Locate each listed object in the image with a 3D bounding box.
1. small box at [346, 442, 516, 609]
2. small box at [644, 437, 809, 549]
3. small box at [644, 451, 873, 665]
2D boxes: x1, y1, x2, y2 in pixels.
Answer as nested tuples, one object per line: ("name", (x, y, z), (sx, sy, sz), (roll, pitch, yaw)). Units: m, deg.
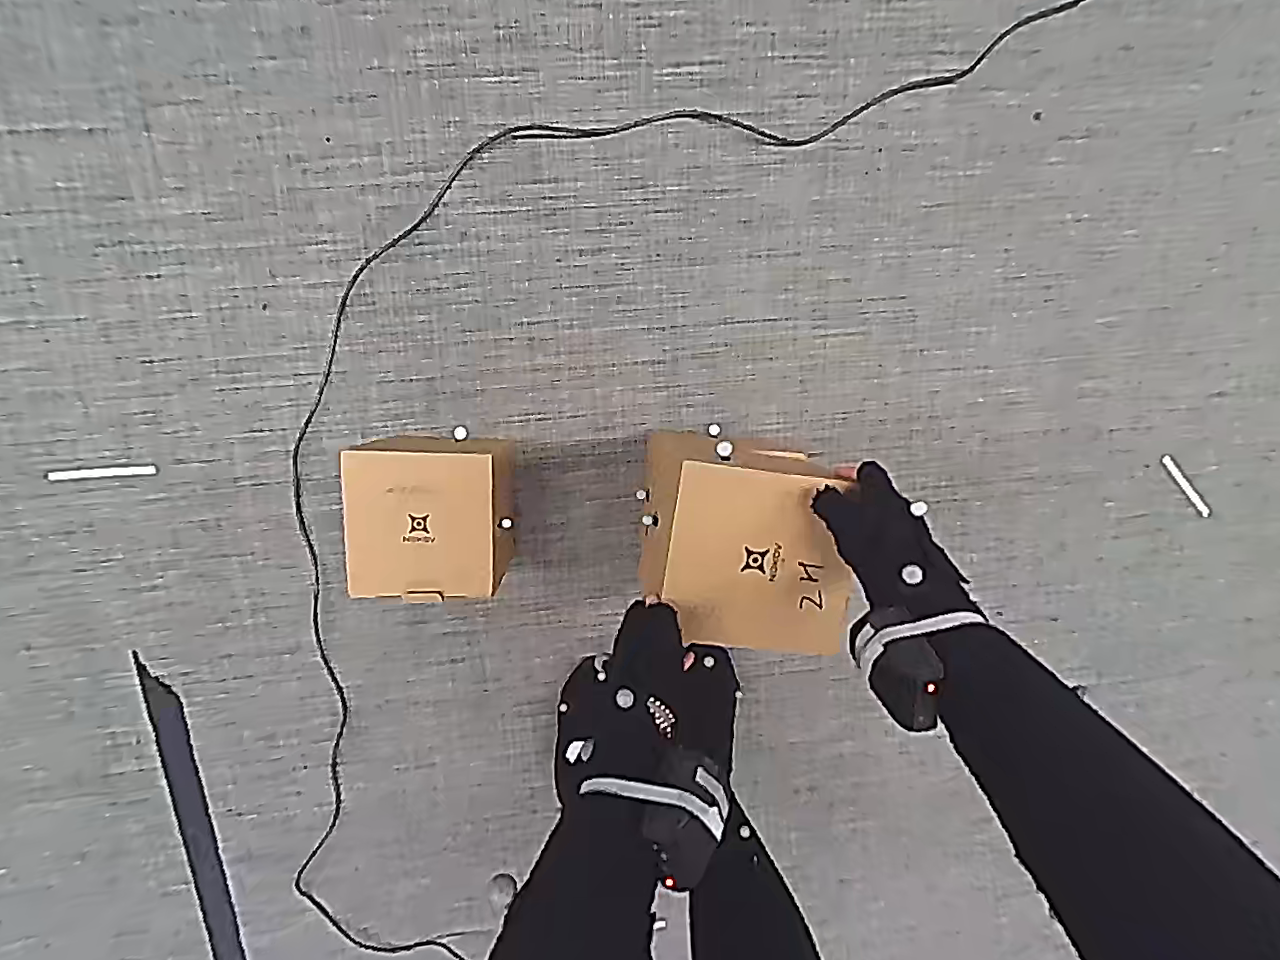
("small box", (-0.253, 0.051, 0.695), (0.168, 0.176, 0.179), (1, 100, -5))
("small box", (0.101, 0.036, 0.720), (0.179, 0.176, 0.168), (4, 100, -5))
("small box", (0.103, 0.067, 0.558), (0.179, 0.176, 0.168), (7, 100, -7))
